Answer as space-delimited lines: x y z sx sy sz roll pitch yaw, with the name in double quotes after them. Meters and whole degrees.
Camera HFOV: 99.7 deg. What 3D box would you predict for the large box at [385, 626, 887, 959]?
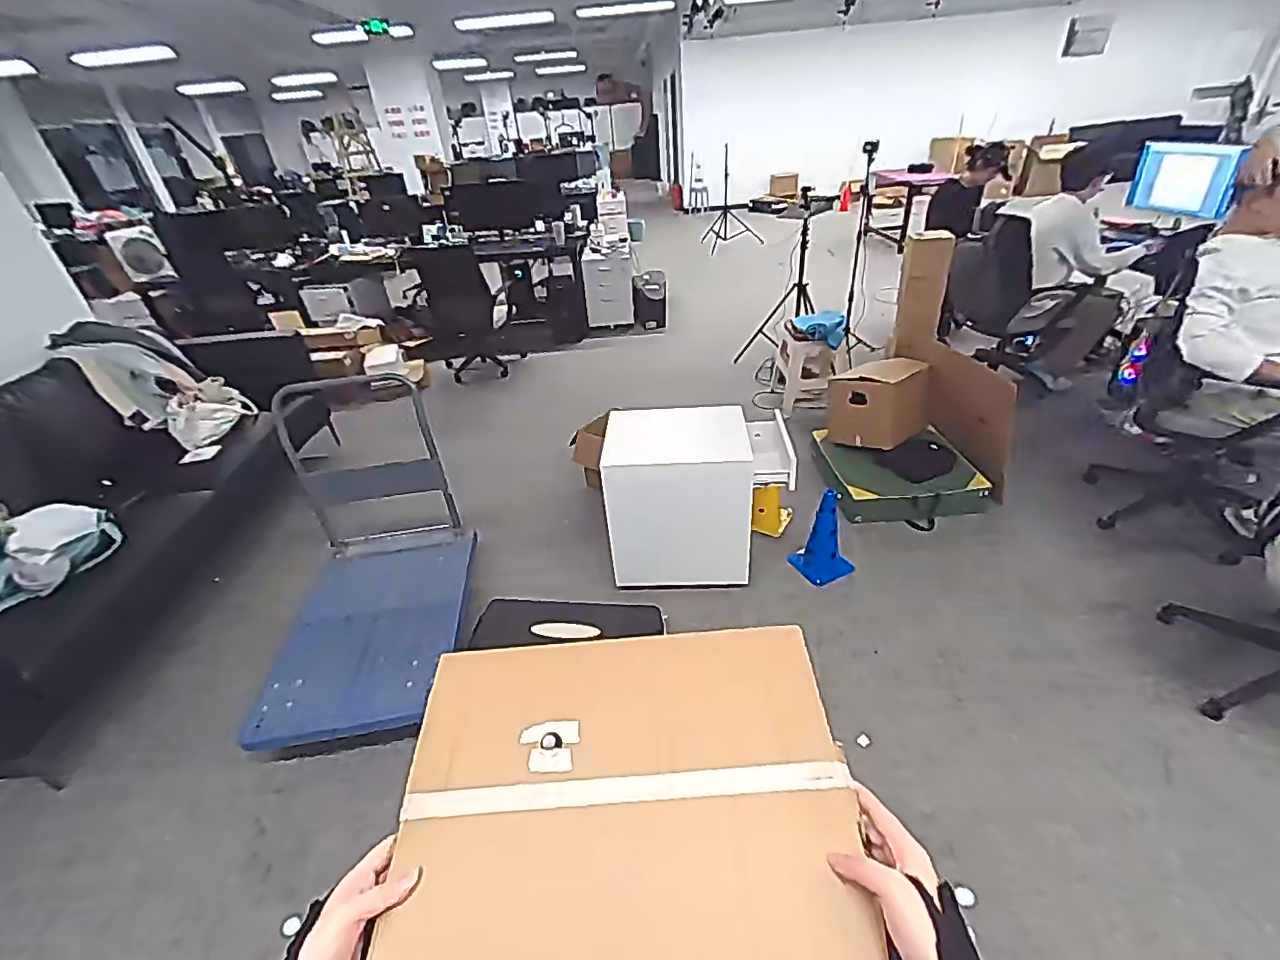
0.002 0.398 0.608 0.408 0.320 0.320 -7 43 4 "large box"
